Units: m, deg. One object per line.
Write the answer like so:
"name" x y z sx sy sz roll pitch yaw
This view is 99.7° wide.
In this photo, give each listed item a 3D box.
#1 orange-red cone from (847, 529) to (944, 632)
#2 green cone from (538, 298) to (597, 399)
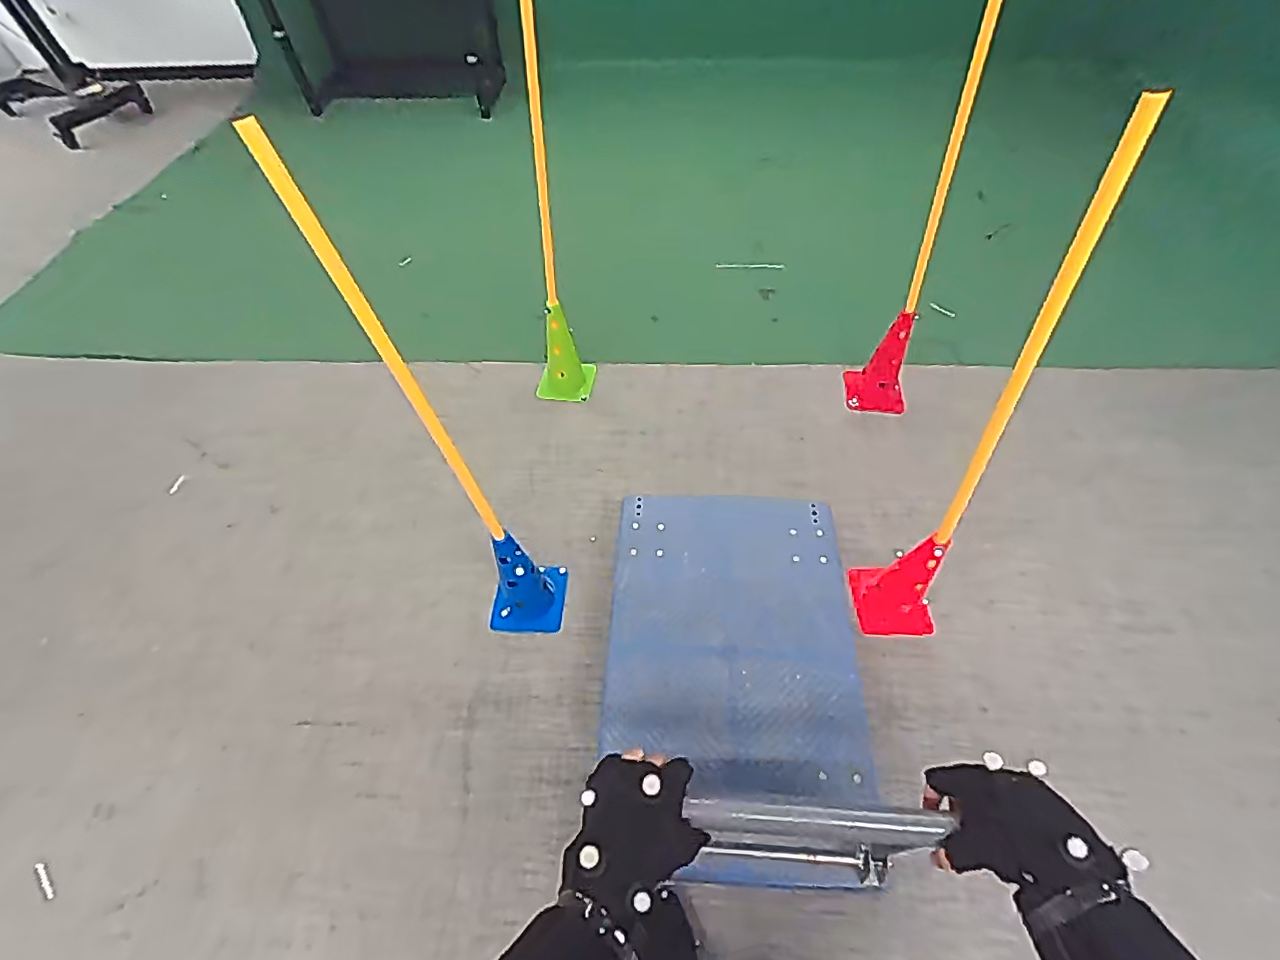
"orange-red cone" 0.687 0.232 1.381 0.199 0.360 0.198 0 54 4
"green cone" -0.281 -0.484 1.922 0.202 0.368 0.200 4 54 6
